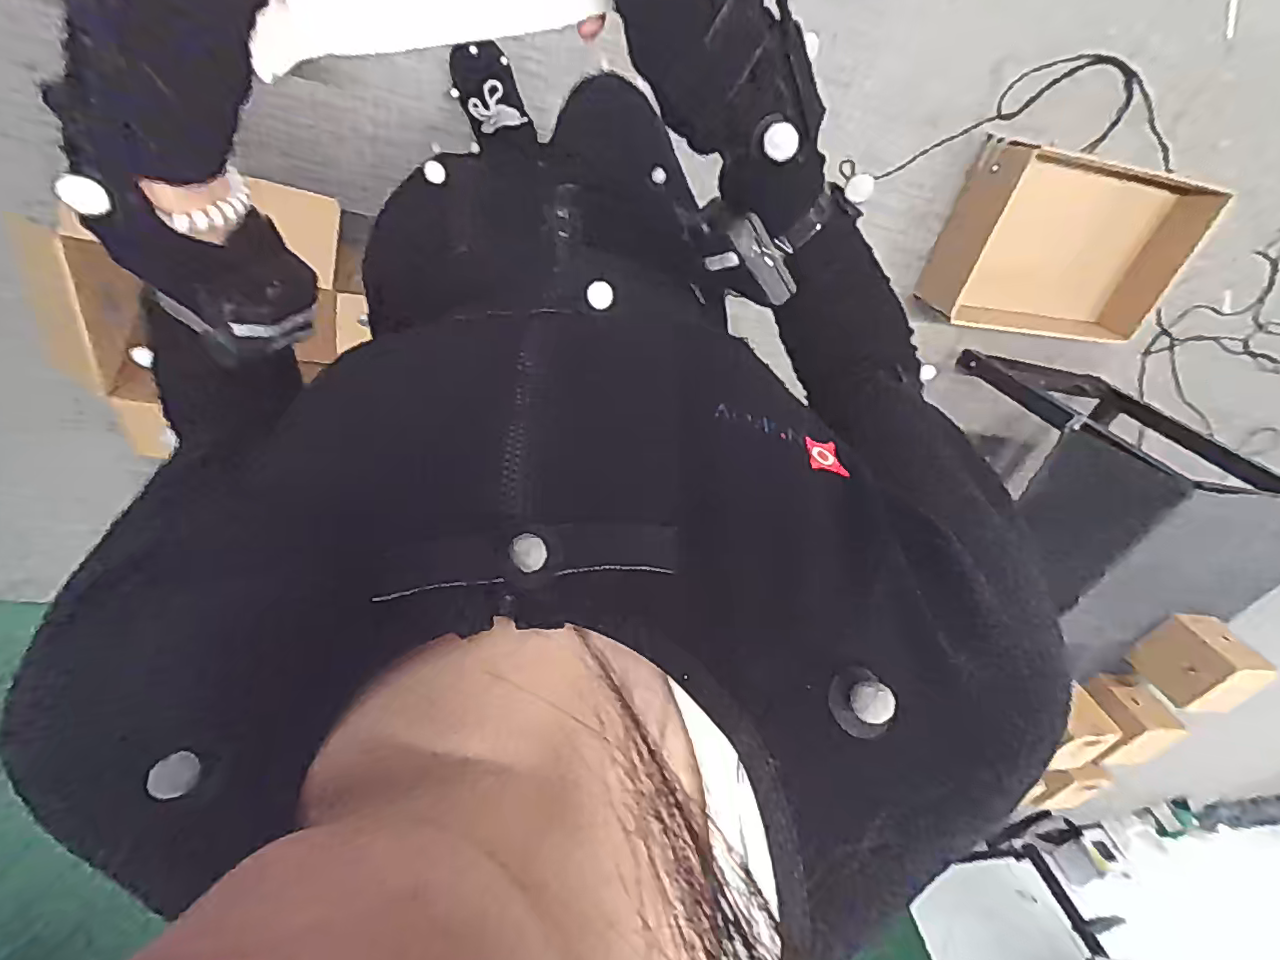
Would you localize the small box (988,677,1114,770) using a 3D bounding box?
[{"bbox_3d":[1.086,0.645,1.448,0.168,0.176,0.179,4,126,-16],"label":"small box"}]
